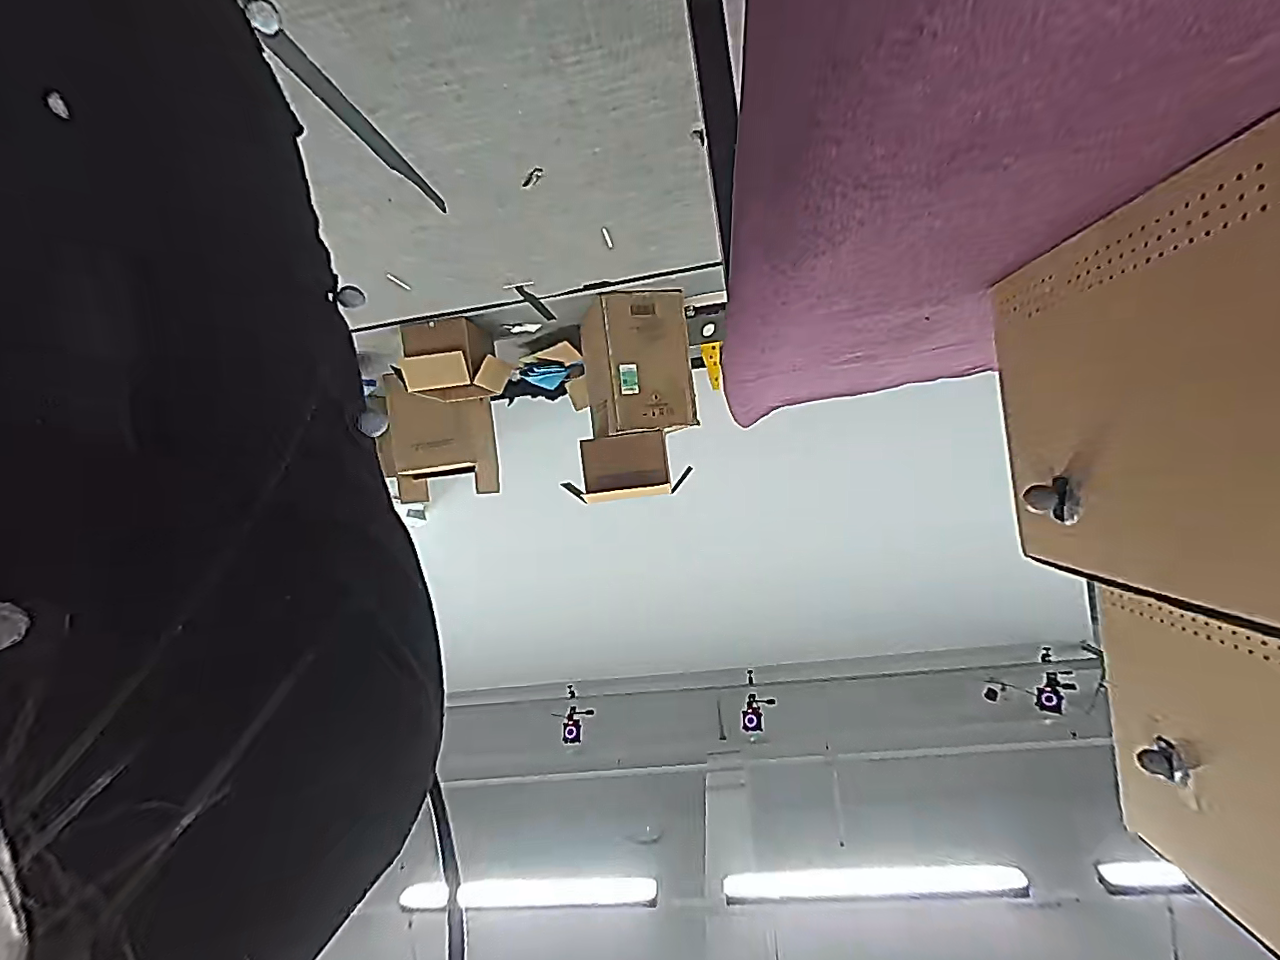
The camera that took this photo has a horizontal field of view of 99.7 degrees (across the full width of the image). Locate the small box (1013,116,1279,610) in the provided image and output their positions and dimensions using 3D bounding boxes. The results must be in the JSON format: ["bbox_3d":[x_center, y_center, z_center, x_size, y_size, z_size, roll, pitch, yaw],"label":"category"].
[{"bbox_3d":[0.298,-0.050,0.237,0.168,0.176,0.179,-9,-179,6],"label":"small box"}]
